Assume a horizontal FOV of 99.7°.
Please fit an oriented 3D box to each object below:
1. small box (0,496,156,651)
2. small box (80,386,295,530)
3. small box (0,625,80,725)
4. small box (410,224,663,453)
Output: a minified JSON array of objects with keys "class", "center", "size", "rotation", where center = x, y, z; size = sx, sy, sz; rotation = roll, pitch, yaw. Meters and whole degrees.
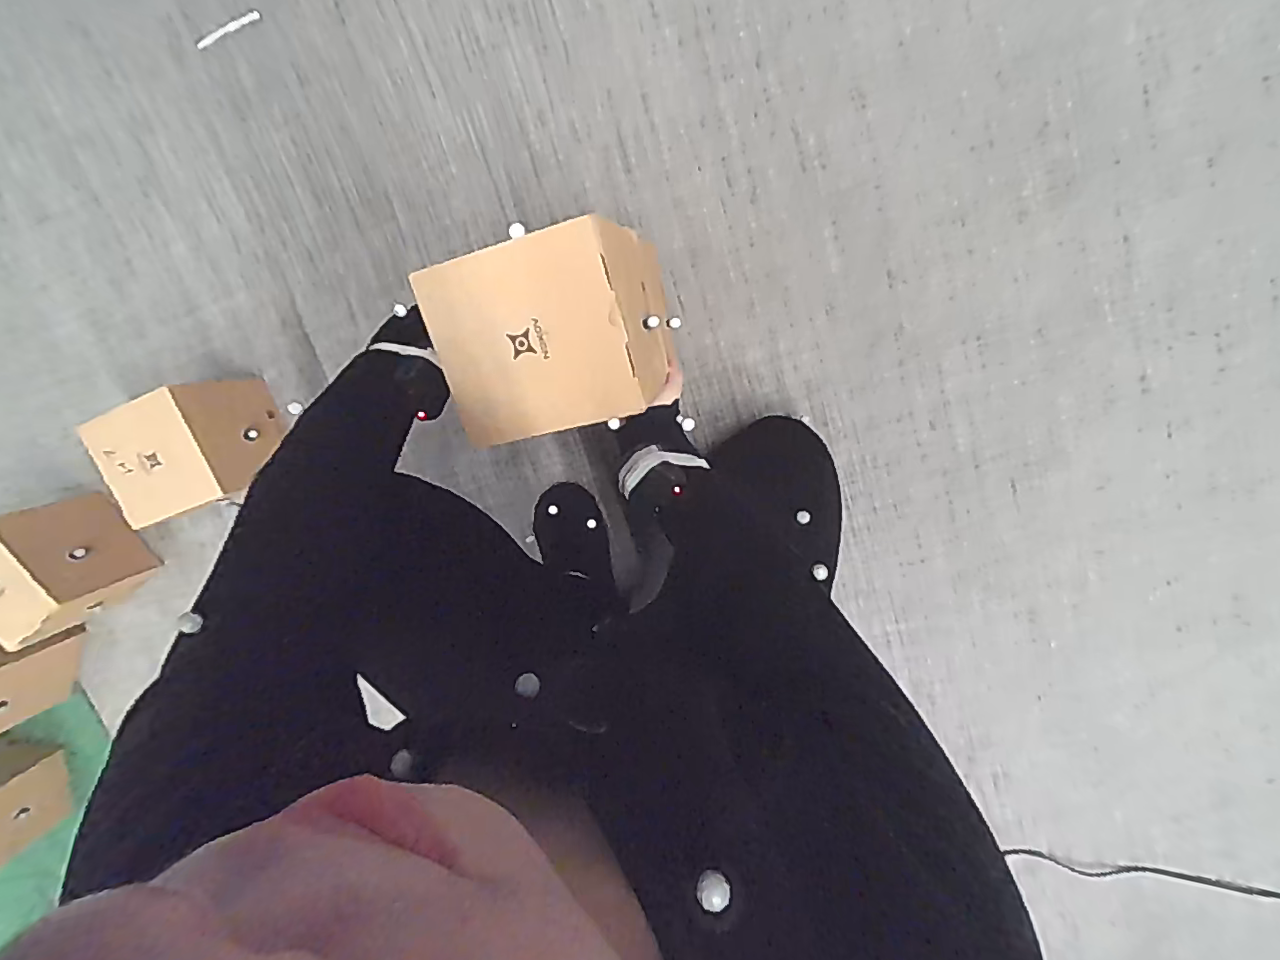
[{"class":"small box","center":[-1.018,0.154,0.942],"size":[0.168,0.176,0.179],"rotation":[-34,97,14]},{"class":"small box","center":[-0.685,-0.043,0.847],"size":[0.179,0.176,0.168],"rotation":[-18,100,11]},{"class":"small box","center":[-1.227,0.353,1.020],"size":[0.168,0.176,0.179],"rotation":[29,105,1]},{"class":"small box","center":[-0.087,-0.140,0.547],"size":[0.179,0.176,0.168],"rotation":[-11,107,14]}]
